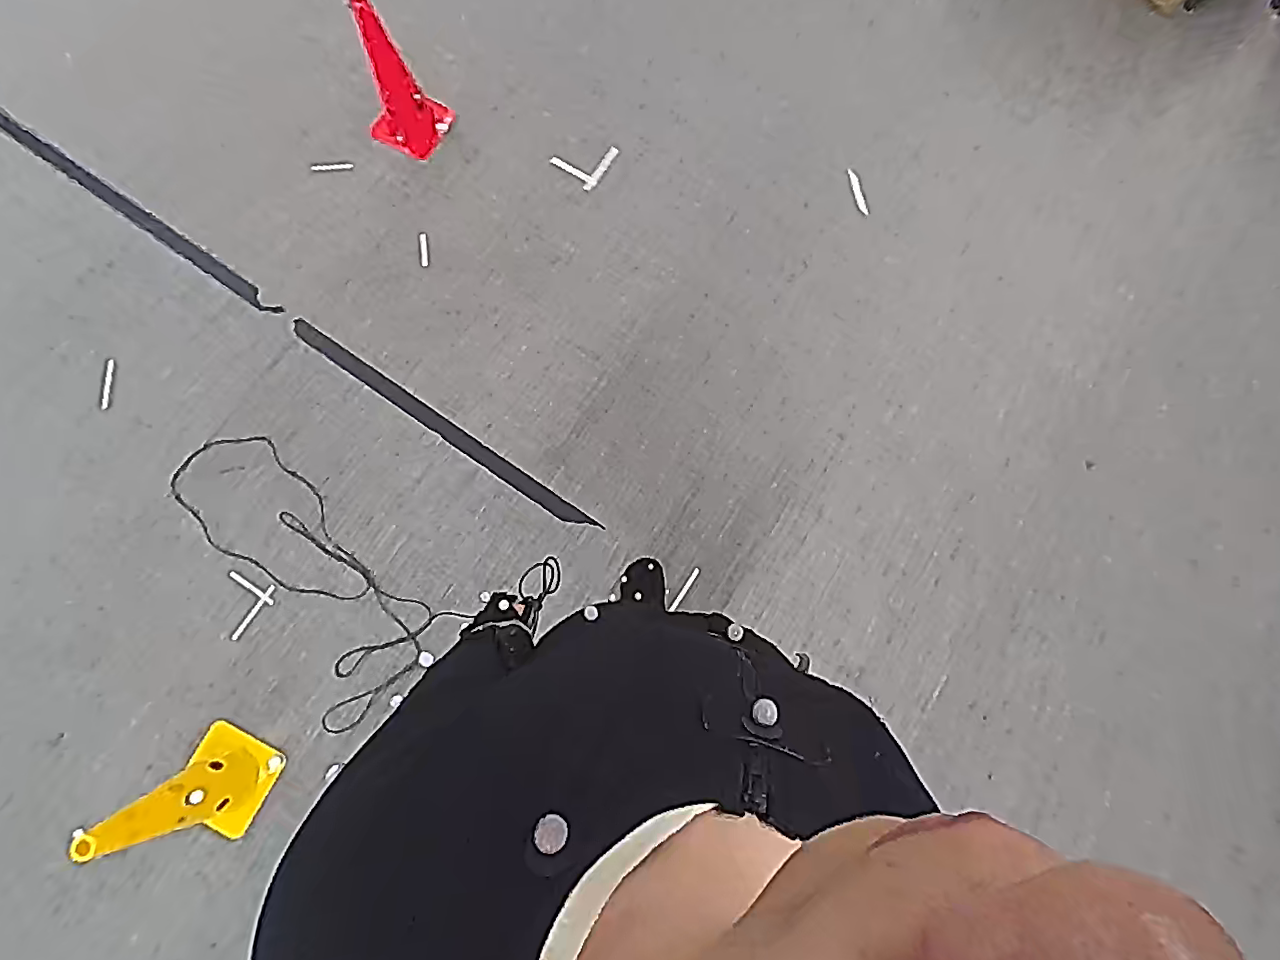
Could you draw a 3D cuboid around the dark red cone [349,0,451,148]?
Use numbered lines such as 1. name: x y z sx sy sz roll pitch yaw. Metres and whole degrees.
1. dark red cone: -0.674 -1.113 1.432 0.202 0.394 0.201 26 80 3
